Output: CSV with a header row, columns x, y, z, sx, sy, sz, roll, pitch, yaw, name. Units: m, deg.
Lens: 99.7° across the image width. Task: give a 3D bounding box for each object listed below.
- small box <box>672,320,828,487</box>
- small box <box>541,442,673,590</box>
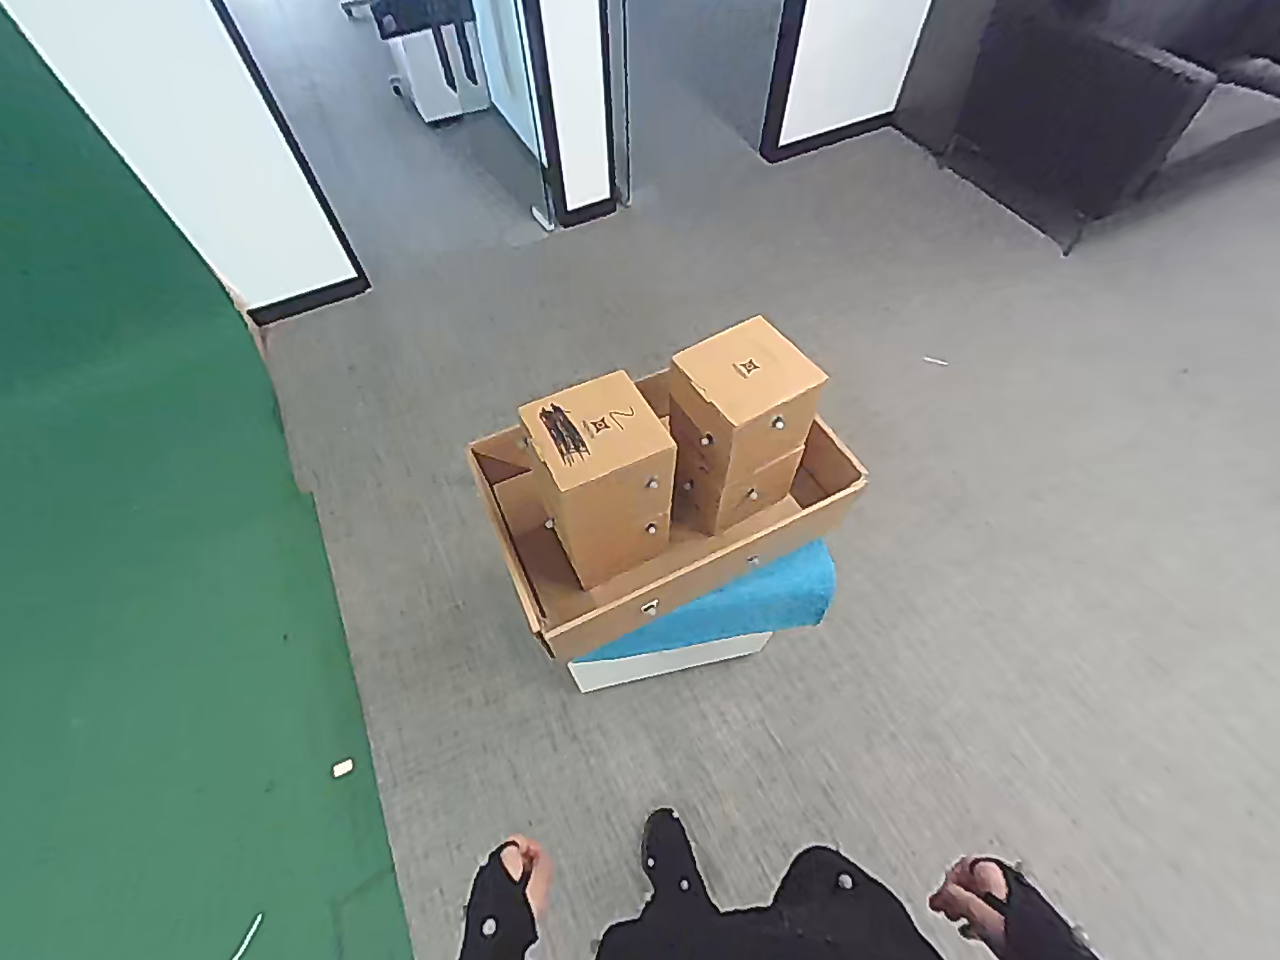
x,y,z,sx,sy,sz,roll,pitch,yaw,name
0.168,-0.118,0.875,0.179,0.176,0.168,-28,60,-14,small box
-0.054,0.069,0.963,0.179,0.176,0.168,-23,59,-14,small box
